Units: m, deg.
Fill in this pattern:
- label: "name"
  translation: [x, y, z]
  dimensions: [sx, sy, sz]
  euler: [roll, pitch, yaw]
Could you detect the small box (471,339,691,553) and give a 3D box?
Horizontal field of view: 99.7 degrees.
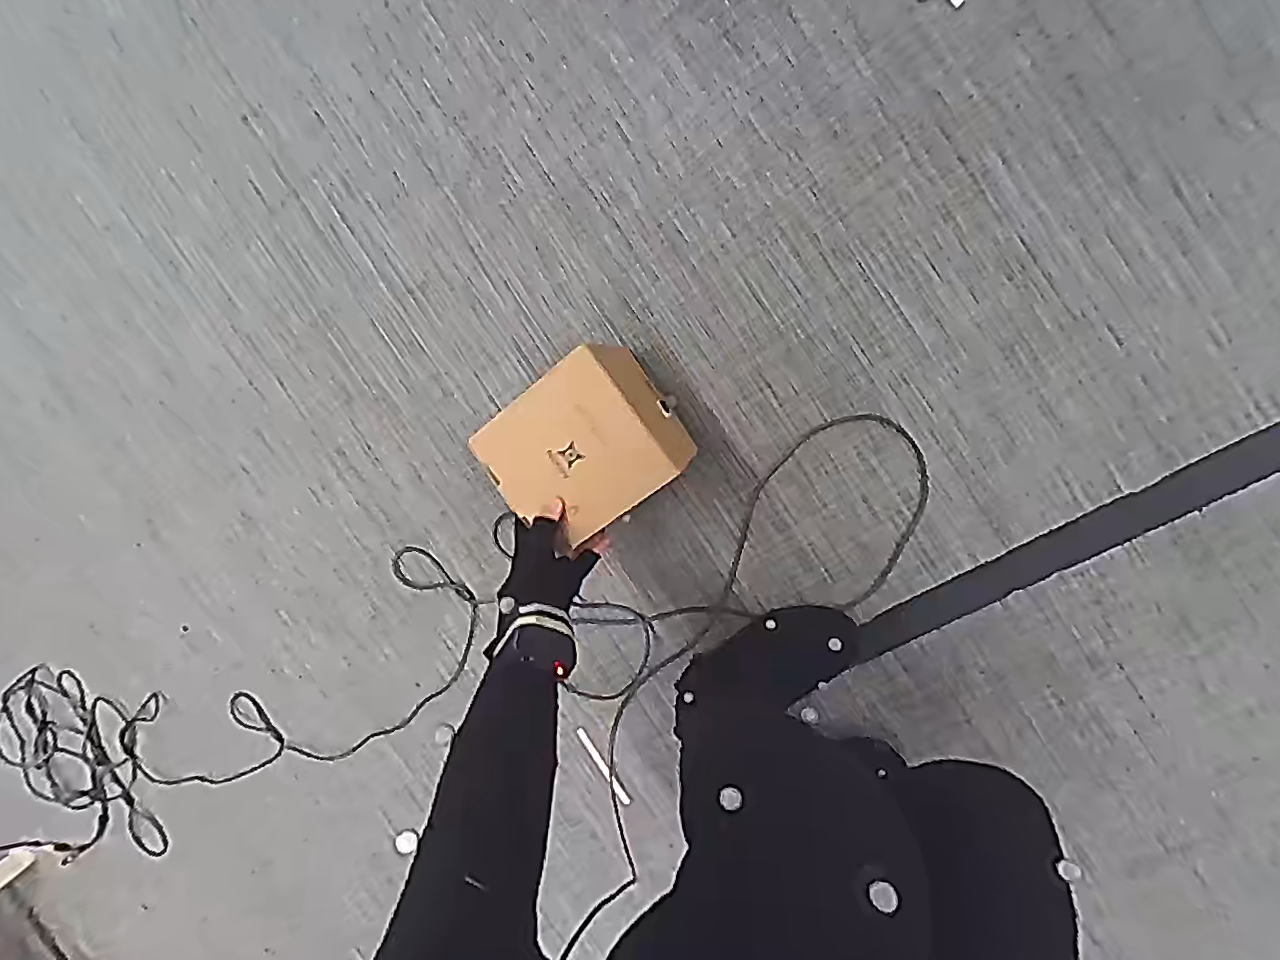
- label: "small box"
  translation: [-0.057, -0.044, 0.646]
  dimensions: [0.179, 0.176, 0.168]
  euler: [-37, 92, 16]
